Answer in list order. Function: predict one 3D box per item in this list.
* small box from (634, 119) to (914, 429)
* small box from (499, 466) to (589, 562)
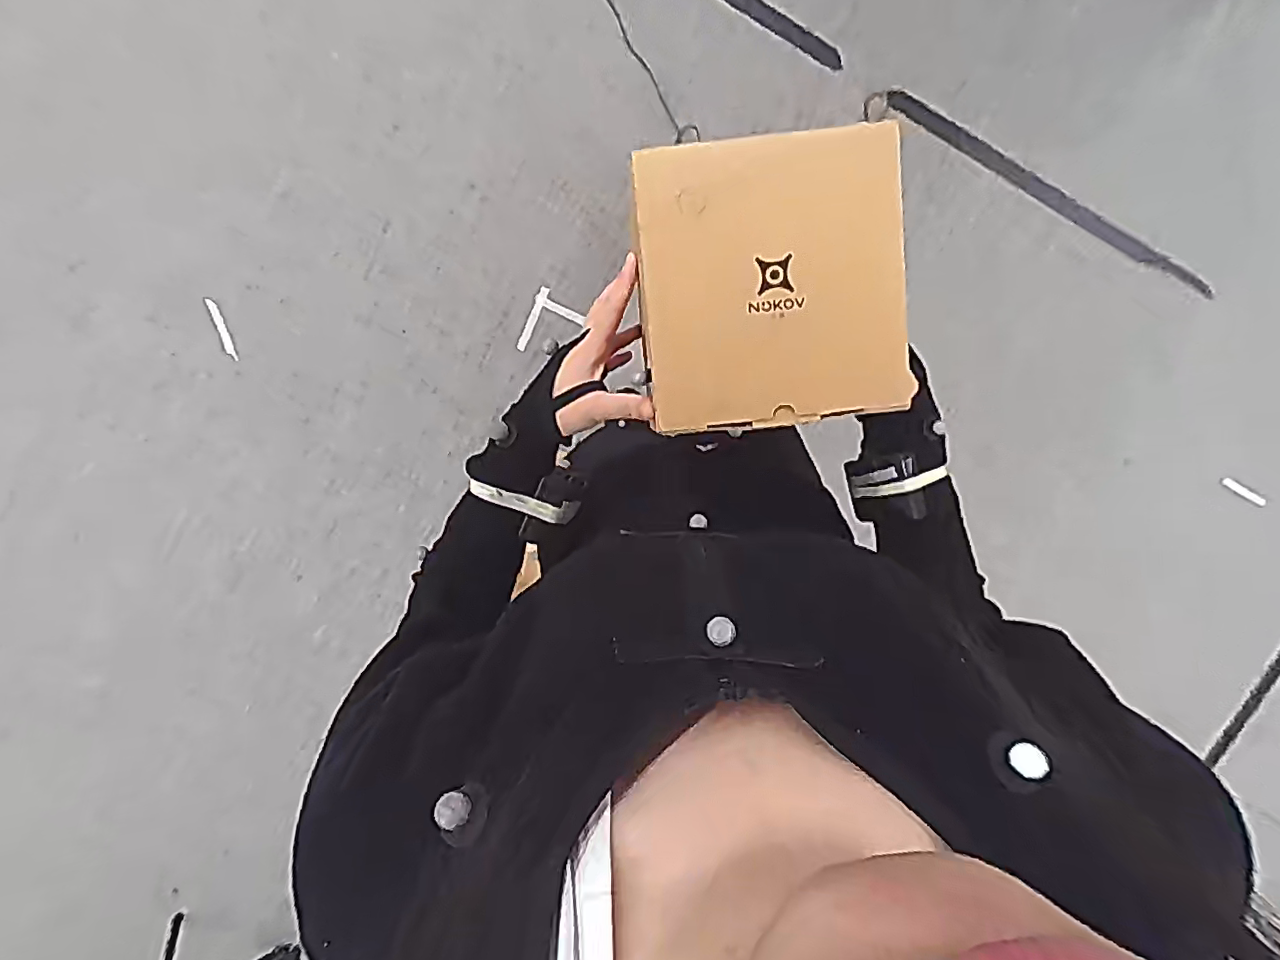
[{"bbox_3d":[0.085,-0.135,0.417,0.168,0.176,0.179,-7,98,0],"label":"small box"},{"bbox_3d":[-0.238,0.081,1.391,0.168,0.176,0.179,25,96,-7],"label":"small box"}]
